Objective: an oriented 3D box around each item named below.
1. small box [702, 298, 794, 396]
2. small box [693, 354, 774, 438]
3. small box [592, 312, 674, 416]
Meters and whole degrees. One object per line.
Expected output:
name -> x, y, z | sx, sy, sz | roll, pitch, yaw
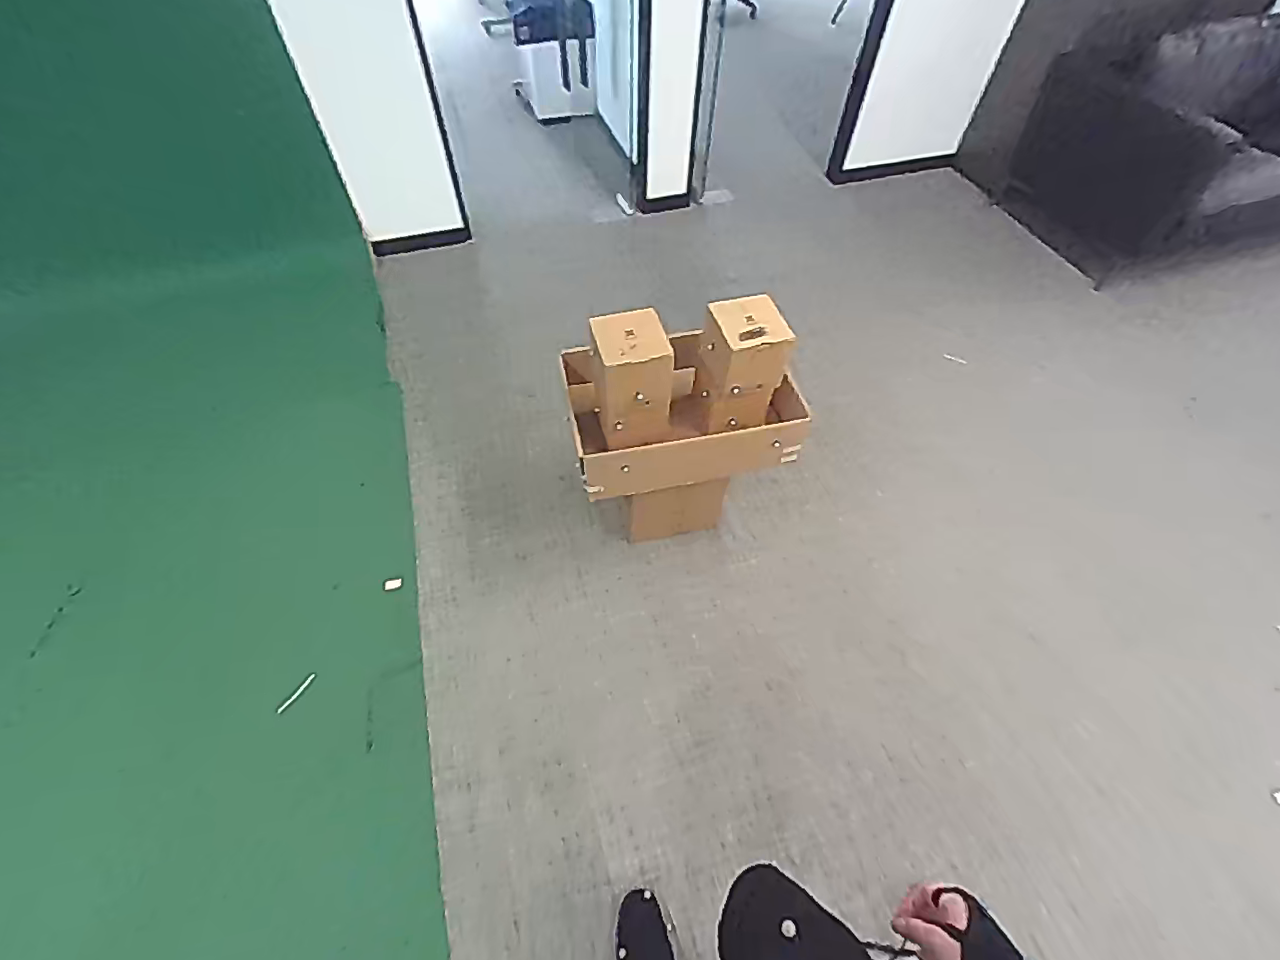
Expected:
small box -> 0.267, -0.333, 1.383 | 0.168, 0.176, 0.179 | -12, 56, -11
small box -> 0.254, -0.241, 1.519 | 0.168, 0.176, 0.179 | -8, 56, -8
small box -> -0.022, -0.285, 1.339 | 0.168, 0.176, 0.179 | -12, 56, -9
